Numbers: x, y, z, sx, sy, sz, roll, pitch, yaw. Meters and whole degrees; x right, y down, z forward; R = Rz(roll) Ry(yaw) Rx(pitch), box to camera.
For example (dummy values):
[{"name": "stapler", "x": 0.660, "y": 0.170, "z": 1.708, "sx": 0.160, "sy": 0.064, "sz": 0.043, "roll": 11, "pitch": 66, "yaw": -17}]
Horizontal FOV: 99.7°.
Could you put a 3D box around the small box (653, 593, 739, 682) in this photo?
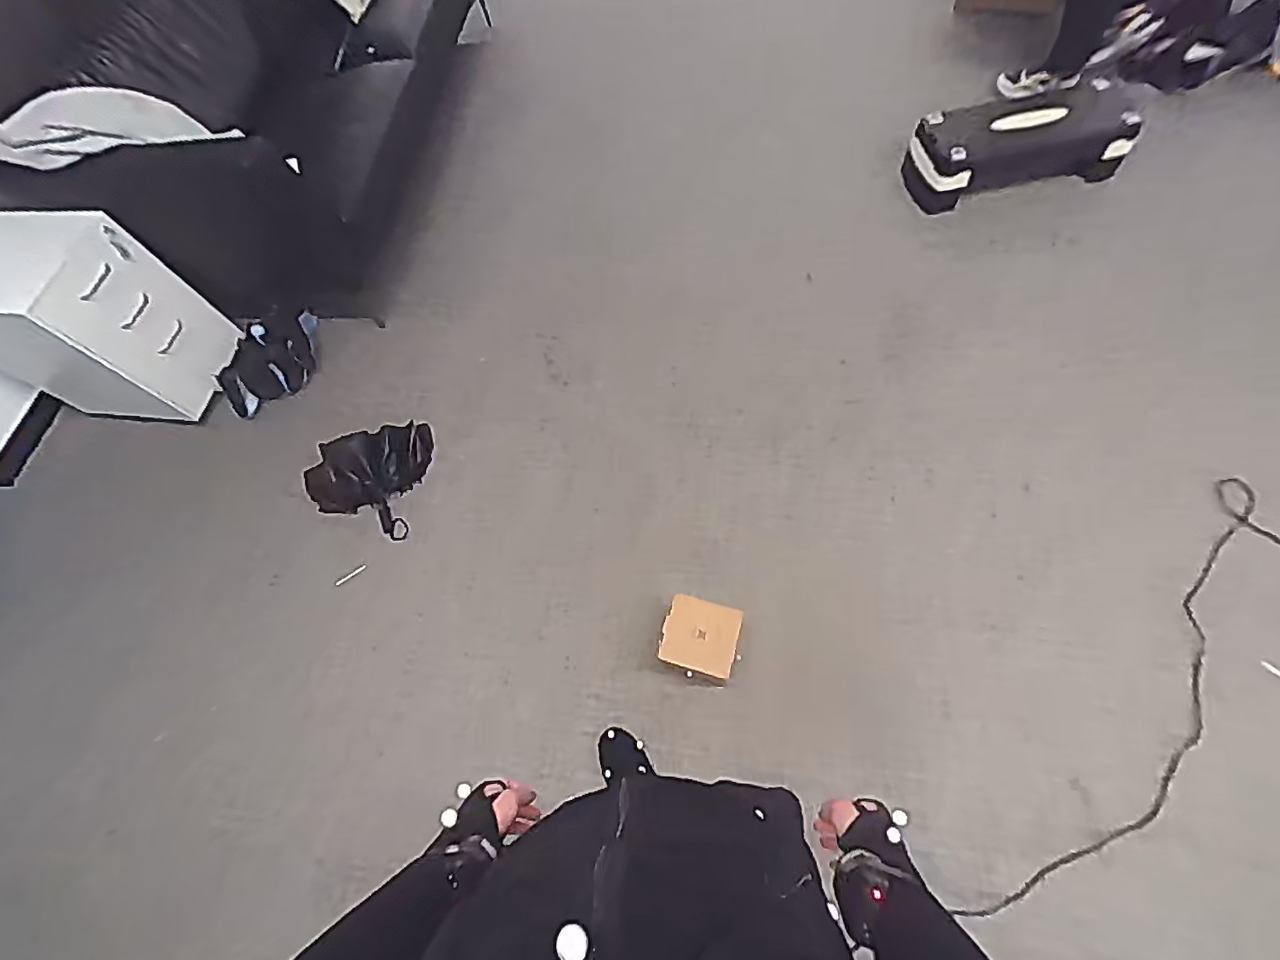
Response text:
[{"name": "small box", "x": 0.146, "y": 0.407, "z": 1.378, "sx": 0.179, "sy": 0.176, "sz": 0.168, "roll": 14, "pitch": 69, "yaw": 12}]
